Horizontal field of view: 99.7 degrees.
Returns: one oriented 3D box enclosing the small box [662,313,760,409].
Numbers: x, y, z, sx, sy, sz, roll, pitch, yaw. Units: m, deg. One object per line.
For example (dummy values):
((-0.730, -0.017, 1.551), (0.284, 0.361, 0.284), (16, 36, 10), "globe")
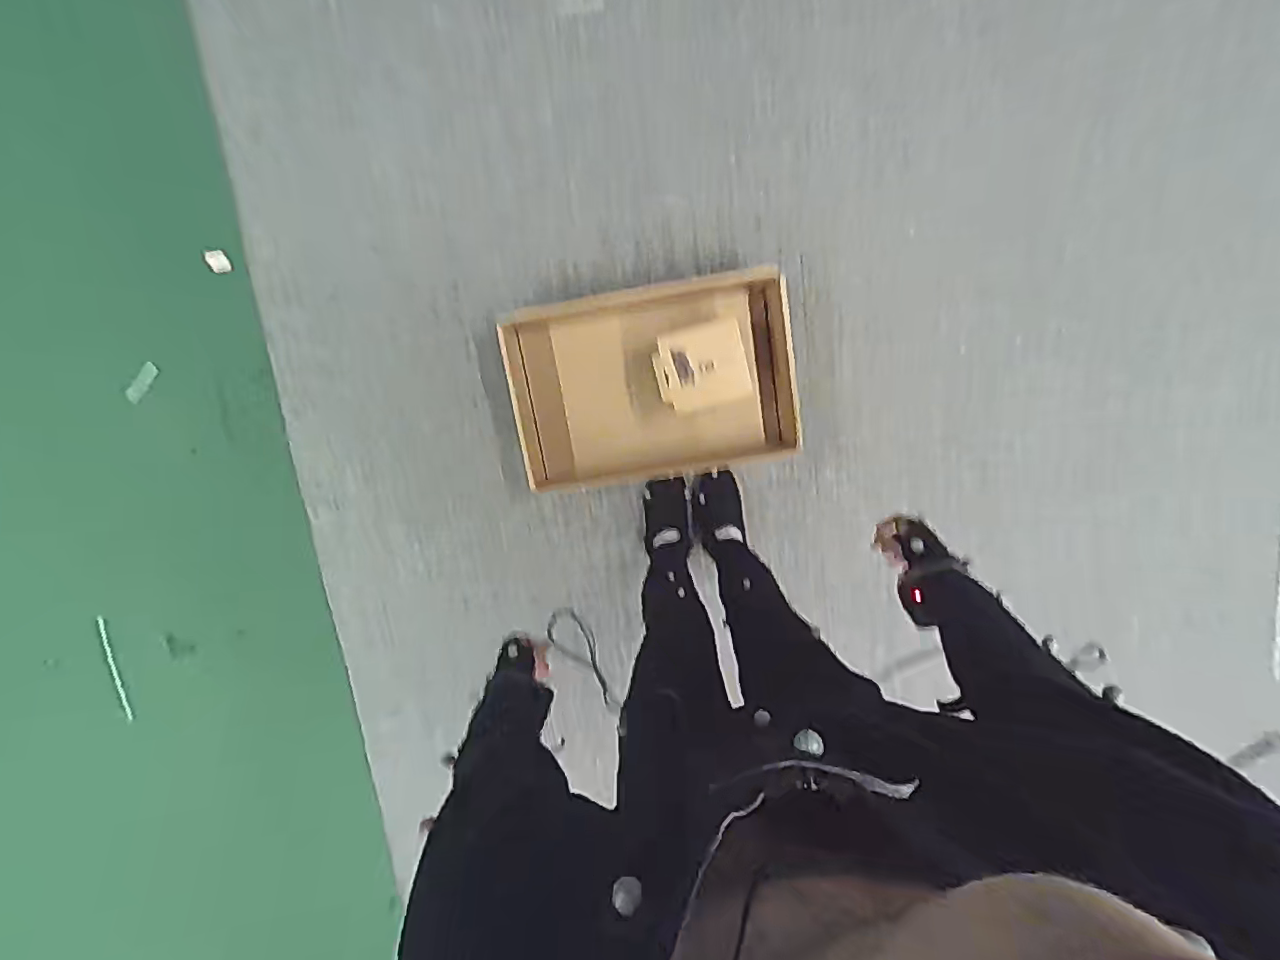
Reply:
((0.153, -0.261, 1.205), (0.179, 0.176, 0.168), (-15, 101, 5), "small box")
